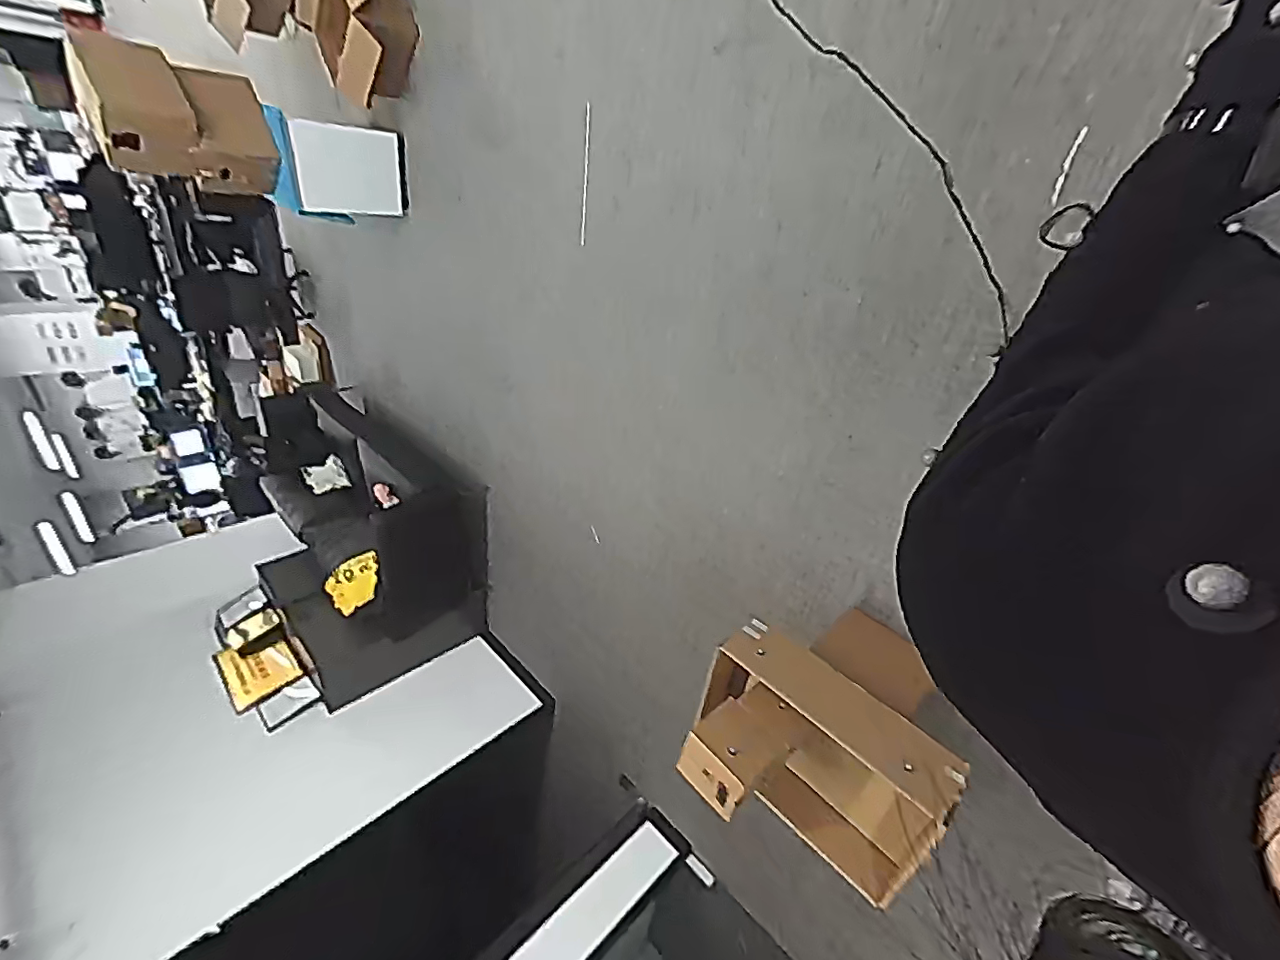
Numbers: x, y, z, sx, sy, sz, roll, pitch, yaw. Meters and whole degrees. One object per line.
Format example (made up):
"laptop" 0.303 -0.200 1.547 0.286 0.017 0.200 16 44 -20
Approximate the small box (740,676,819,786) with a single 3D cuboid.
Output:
"small box" 0.358 0.669 1.462 0.168 0.176 0.179 38 130 33

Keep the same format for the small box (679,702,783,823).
"small box" 0.231 0.703 1.363 0.179 0.176 0.168 37 129 34
